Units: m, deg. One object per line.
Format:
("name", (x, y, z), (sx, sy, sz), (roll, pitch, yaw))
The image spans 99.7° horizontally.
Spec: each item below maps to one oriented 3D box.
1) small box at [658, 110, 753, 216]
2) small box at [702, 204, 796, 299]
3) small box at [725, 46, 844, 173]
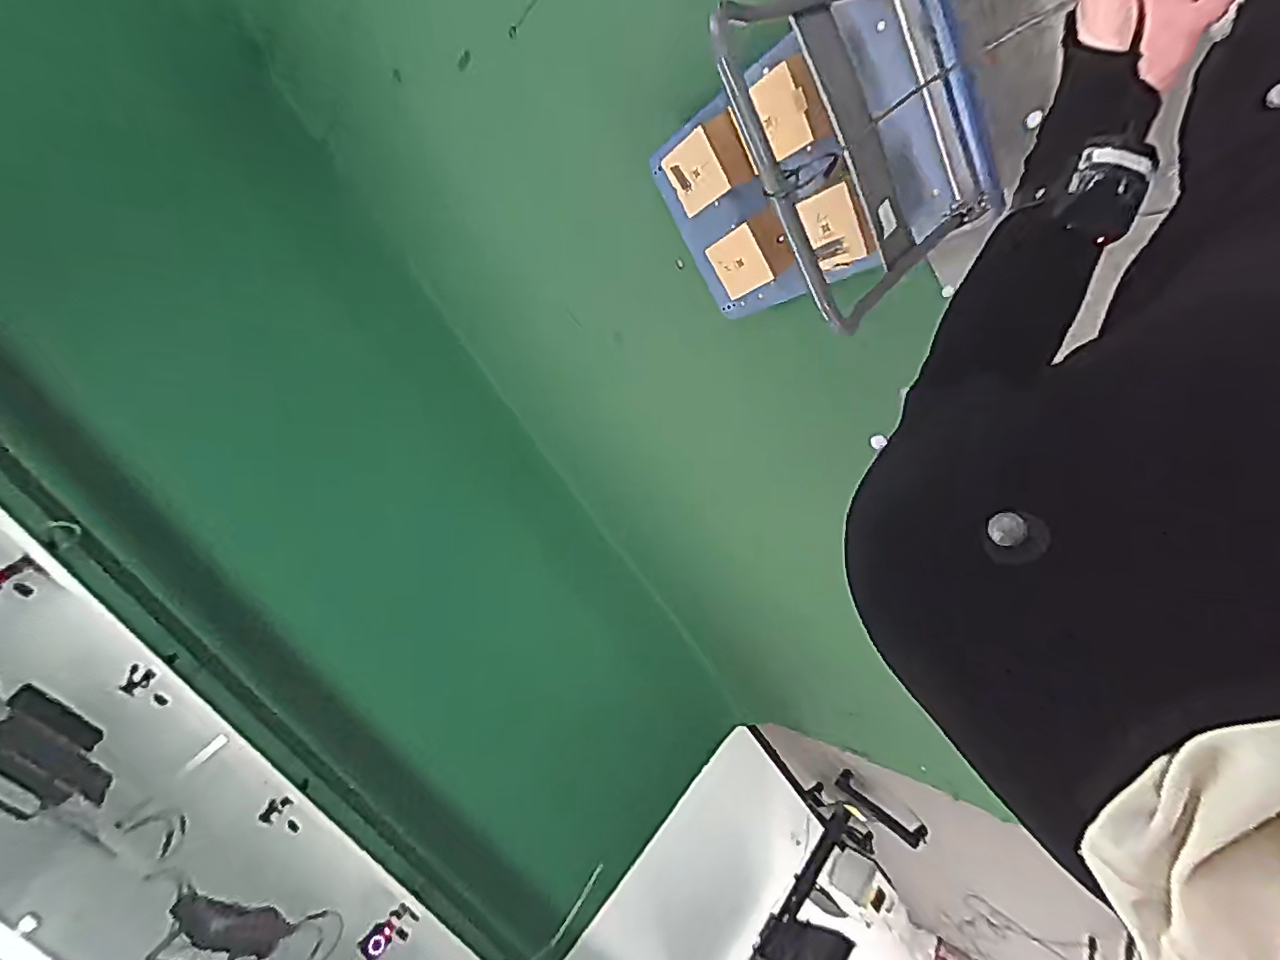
("small box", (0.187, -0.857, 1.464), (0.179, 0.176, 0.168), (-5, 123, 56))
("small box", (0.319, -0.651, 1.542), (0.179, 0.176, 0.168), (-7, 120, 58))
("small box", (0.338, -0.857, 1.255), (0.179, 0.176, 0.168), (-1, 125, 54))
